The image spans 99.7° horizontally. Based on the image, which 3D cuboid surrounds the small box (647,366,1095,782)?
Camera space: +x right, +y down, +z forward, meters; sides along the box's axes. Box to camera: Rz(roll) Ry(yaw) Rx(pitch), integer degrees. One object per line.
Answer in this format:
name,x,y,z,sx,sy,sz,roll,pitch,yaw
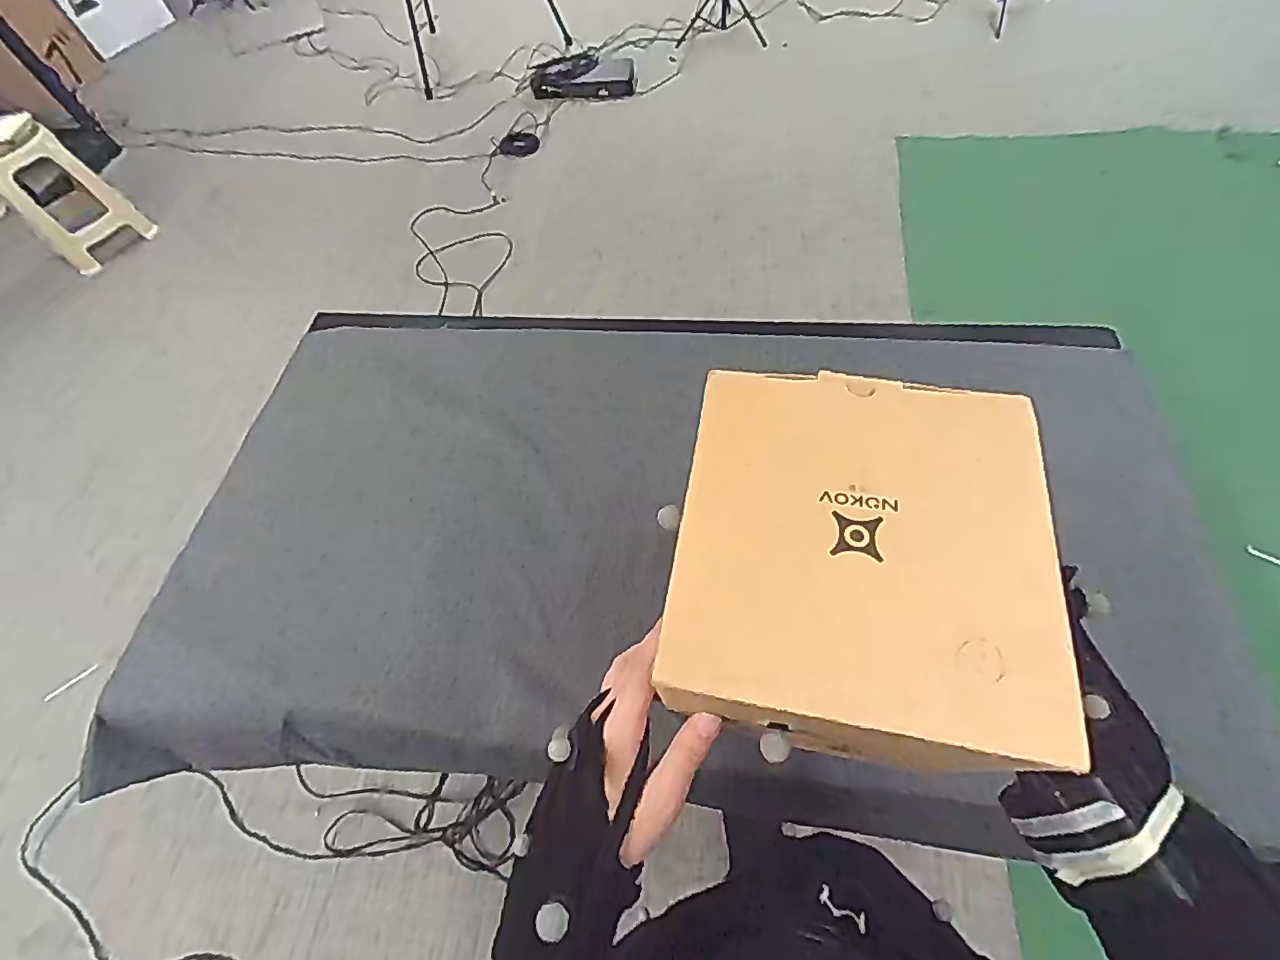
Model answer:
small box,0.110,0.060,0.313,0.168,0.176,0.179,7,61,12
